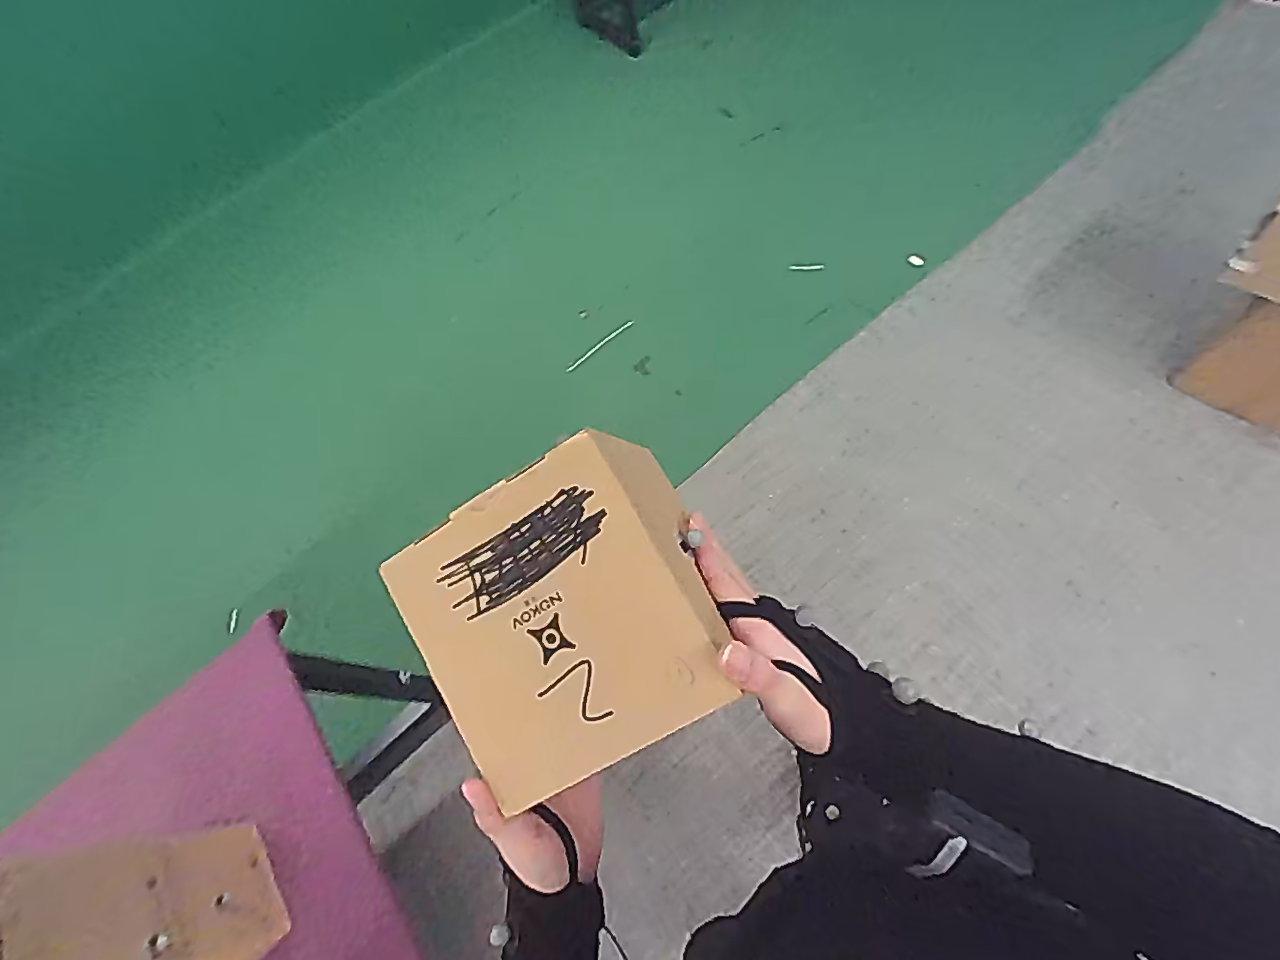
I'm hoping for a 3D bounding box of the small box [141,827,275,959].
[{"bbox_3d":[-0.621,0.594,0.705,0.179,0.176,0.168,-43,64,-7],"label":"small box"}]
